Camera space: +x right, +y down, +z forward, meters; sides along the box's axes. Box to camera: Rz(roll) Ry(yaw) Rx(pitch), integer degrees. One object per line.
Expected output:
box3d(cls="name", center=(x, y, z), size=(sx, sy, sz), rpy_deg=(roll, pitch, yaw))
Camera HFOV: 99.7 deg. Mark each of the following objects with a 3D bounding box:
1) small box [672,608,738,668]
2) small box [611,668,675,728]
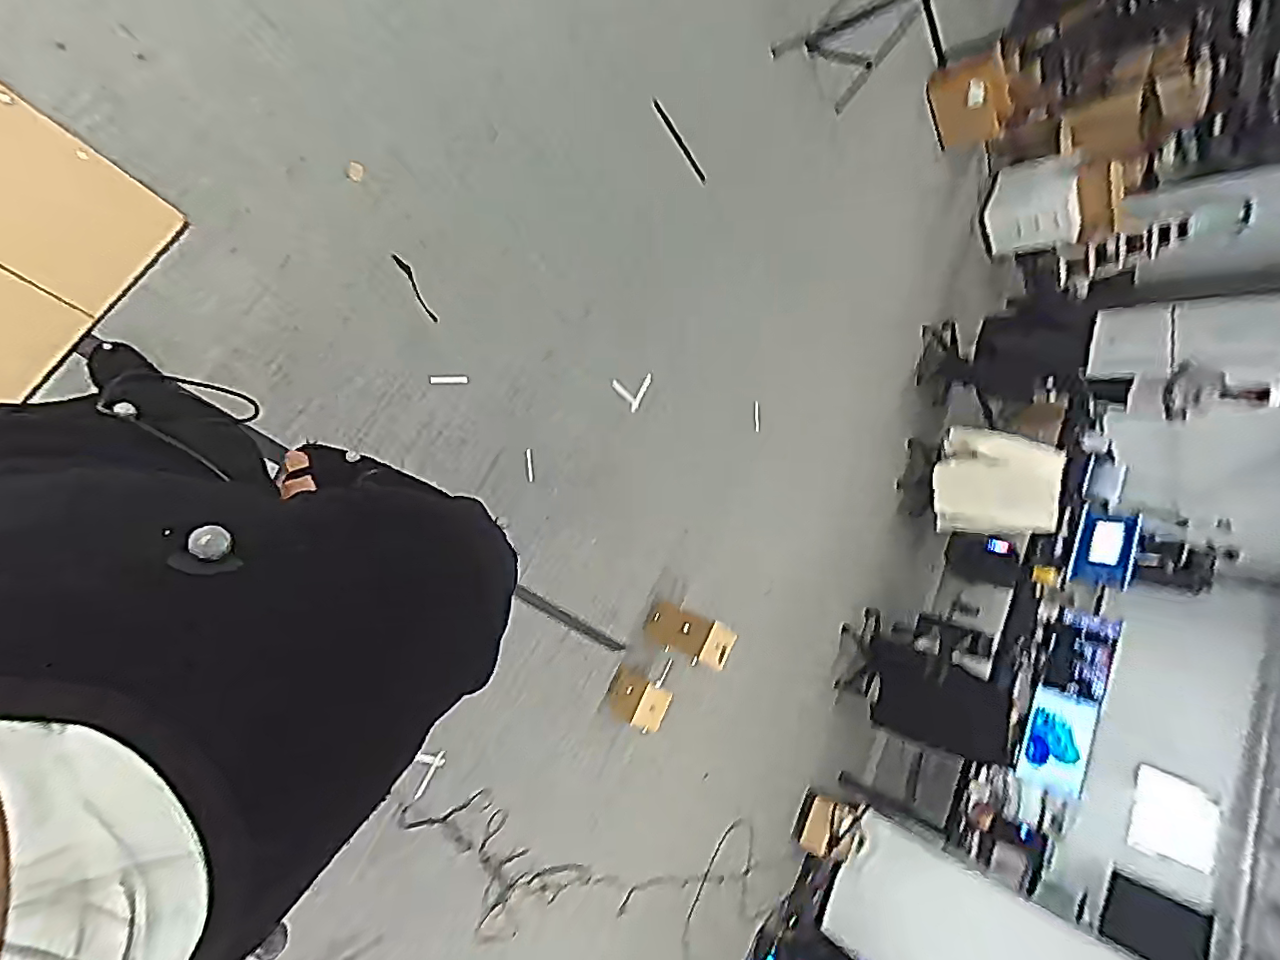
box3d(cls="small box", center=(0.268, 0.652, 2.245), size=(0.179, 0.176, 0.168), rpy_deg=(42, 68, -36))
box3d(cls="small box", center=(0.007, 0.912, 2.272), size=(0.179, 0.176, 0.168), rpy_deg=(38, 71, -39))
